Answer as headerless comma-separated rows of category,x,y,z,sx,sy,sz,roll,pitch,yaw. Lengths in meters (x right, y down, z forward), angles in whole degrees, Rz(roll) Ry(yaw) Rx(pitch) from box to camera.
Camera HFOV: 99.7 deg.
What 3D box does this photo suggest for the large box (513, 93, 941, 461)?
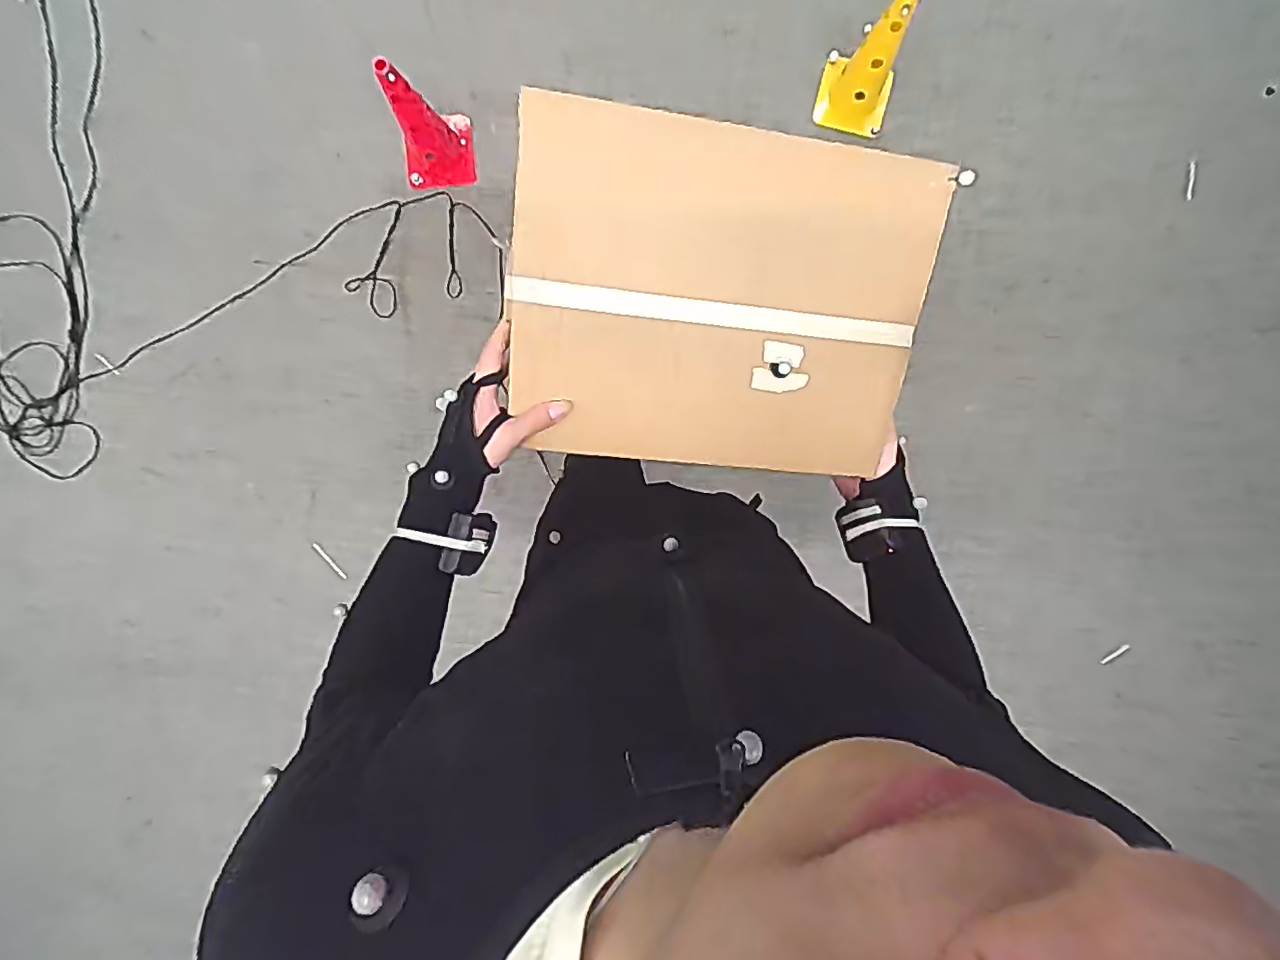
large box,0.059,-0.225,0.673,0.408,0.320,0.320,4,110,-9
